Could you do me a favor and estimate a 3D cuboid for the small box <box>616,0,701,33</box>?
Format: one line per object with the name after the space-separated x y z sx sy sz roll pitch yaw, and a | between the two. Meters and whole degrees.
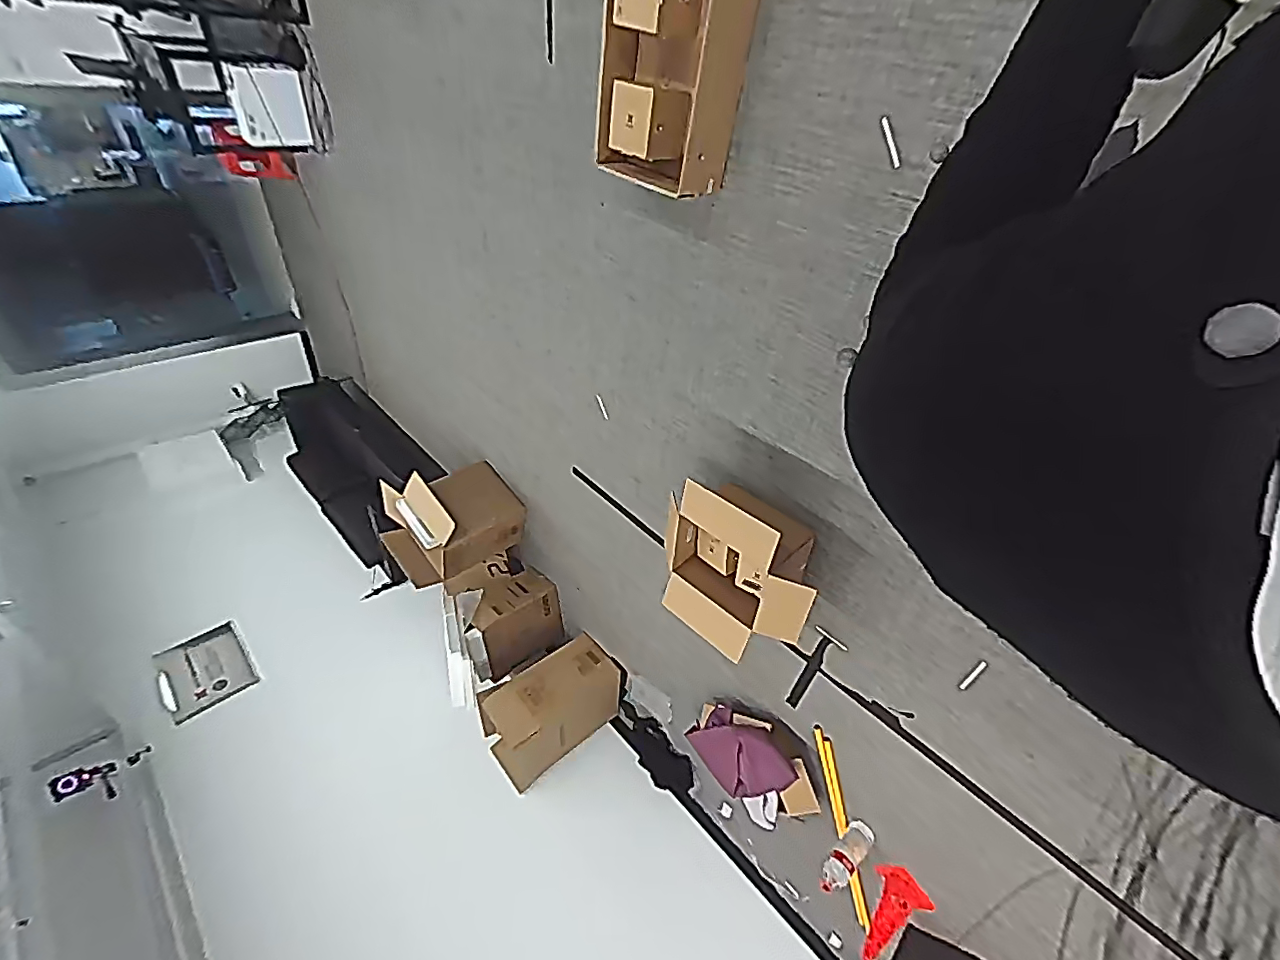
0.059 -1.325 1.455 0.179 0.176 0.168 38 139 27 | small box

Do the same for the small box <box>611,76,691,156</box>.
0.034 -1.099 1.636 0.168 0.176 0.179 36 136 29 | small box
